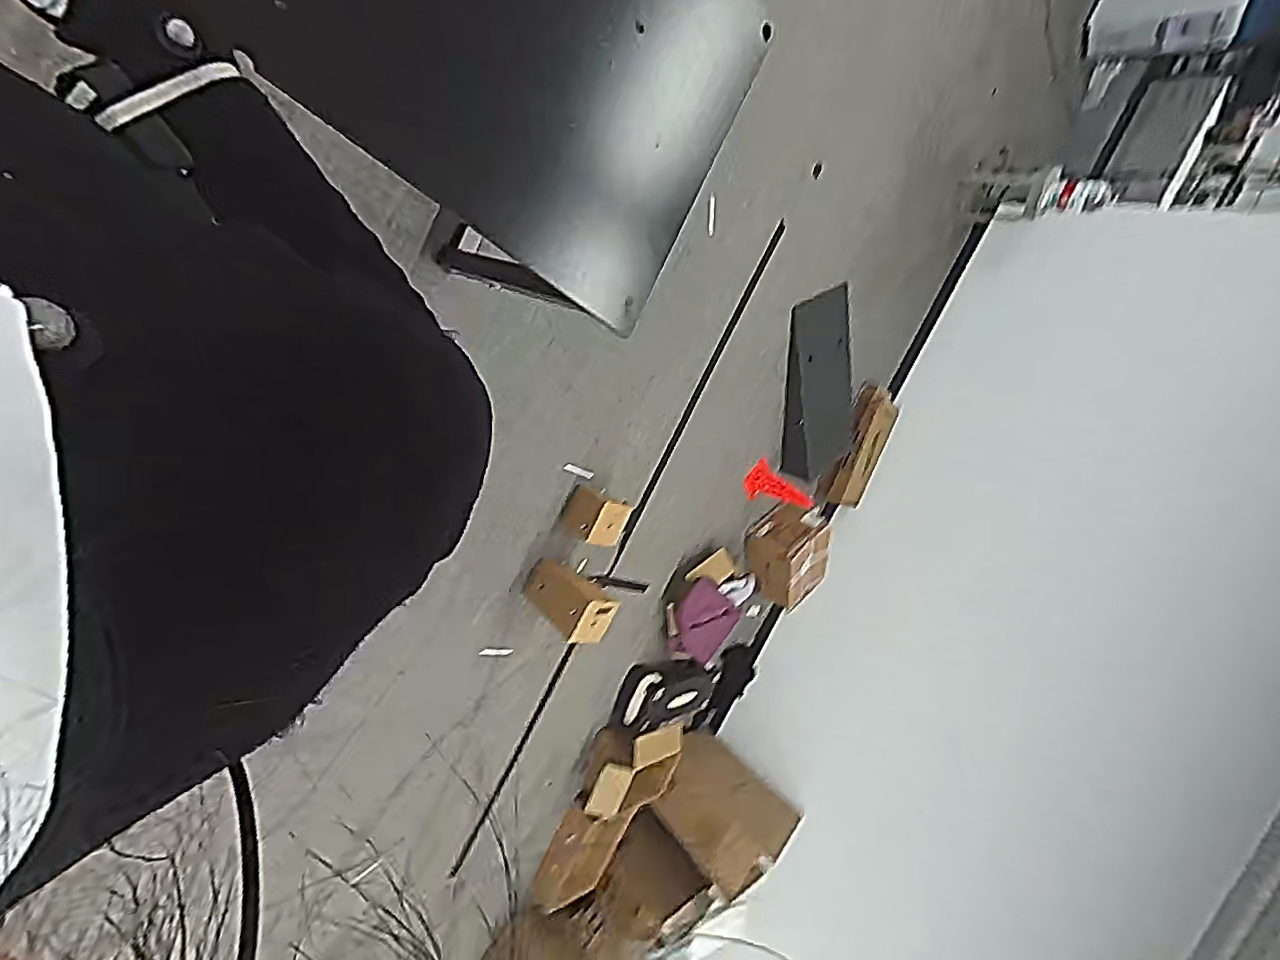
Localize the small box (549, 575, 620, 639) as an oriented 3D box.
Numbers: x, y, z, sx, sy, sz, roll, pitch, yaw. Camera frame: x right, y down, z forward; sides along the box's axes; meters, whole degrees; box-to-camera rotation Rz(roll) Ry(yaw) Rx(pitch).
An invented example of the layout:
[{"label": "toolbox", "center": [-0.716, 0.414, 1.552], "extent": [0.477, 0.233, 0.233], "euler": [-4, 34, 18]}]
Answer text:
[{"label": "small box", "center": [-0.212, 0.472, 2.019], "extent": [0.168, 0.176, 0.179], "euler": [22, 97, -50]}]

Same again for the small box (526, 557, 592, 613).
[{"label": "small box", "center": [-0.318, 0.421, 2.137], "extent": [0.179, 0.176, 0.168], "euler": [25, 94, -50]}]

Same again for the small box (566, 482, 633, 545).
[{"label": "small box", "center": [-0.166, 0.131, 2.119], "extent": [0.168, 0.176, 0.179], "euler": [19, 98, -51]}]
